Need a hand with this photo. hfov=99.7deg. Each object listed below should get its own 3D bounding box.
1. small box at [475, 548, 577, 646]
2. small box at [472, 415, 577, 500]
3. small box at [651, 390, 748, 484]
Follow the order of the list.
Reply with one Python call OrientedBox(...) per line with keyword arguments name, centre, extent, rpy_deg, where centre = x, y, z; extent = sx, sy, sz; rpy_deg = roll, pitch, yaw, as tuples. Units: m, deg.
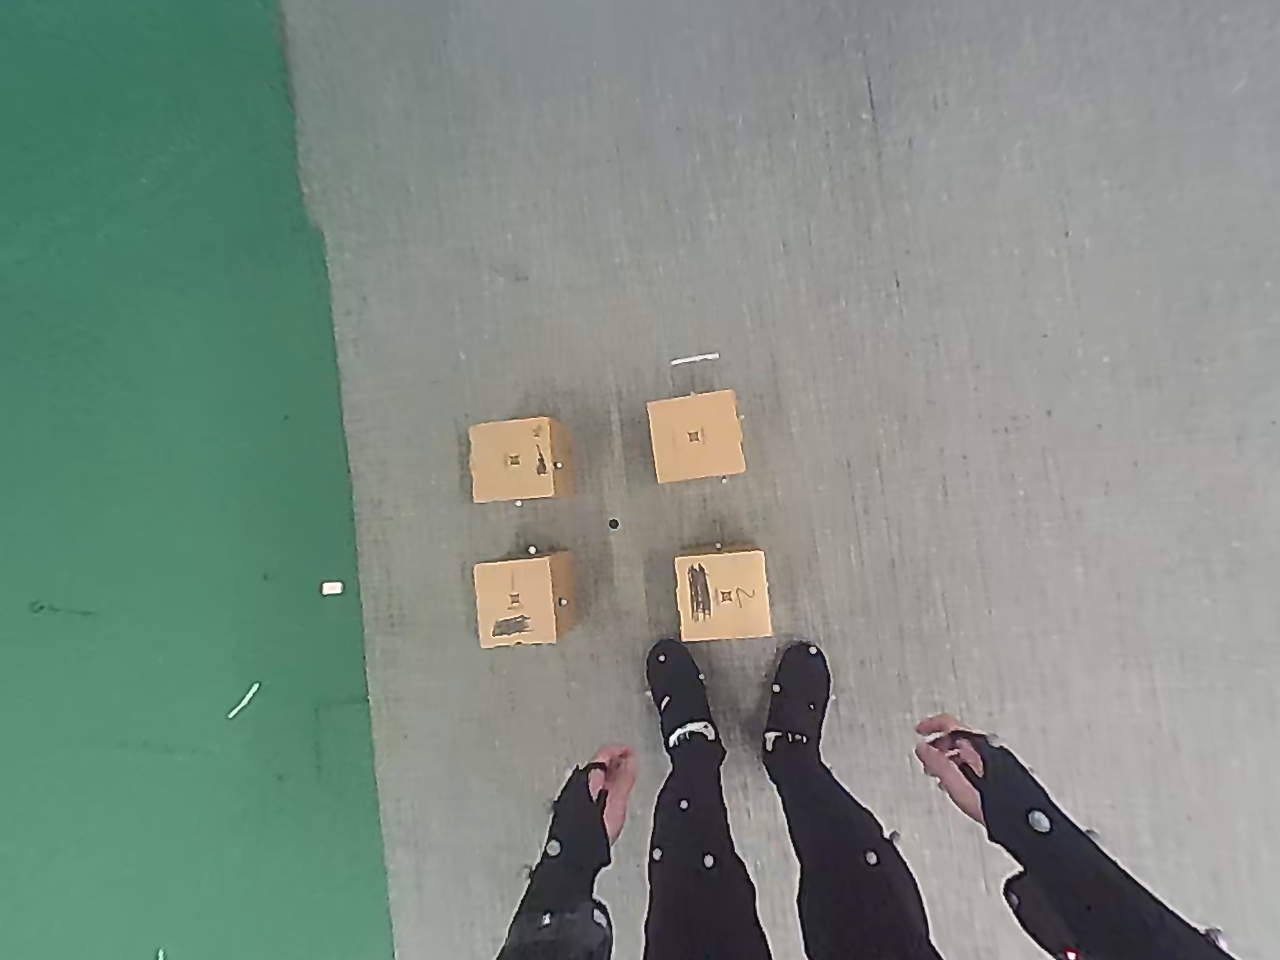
OrientedBox(name="small box", centre=(-0.238, 0.248, 1.169), extent=(0.168, 0.176, 0.179), rpy_deg=(-6, 87, 8))
OrientedBox(name="small box", centre=(-0.246, -0.042, 1.179), extent=(0.179, 0.176, 0.168), rpy_deg=(-4, 88, 9))
OrientedBox(name="small box", centre=(0.125, -0.083, 1.127), extent=(0.179, 0.176, 0.168), rpy_deg=(-7, 86, 8))
